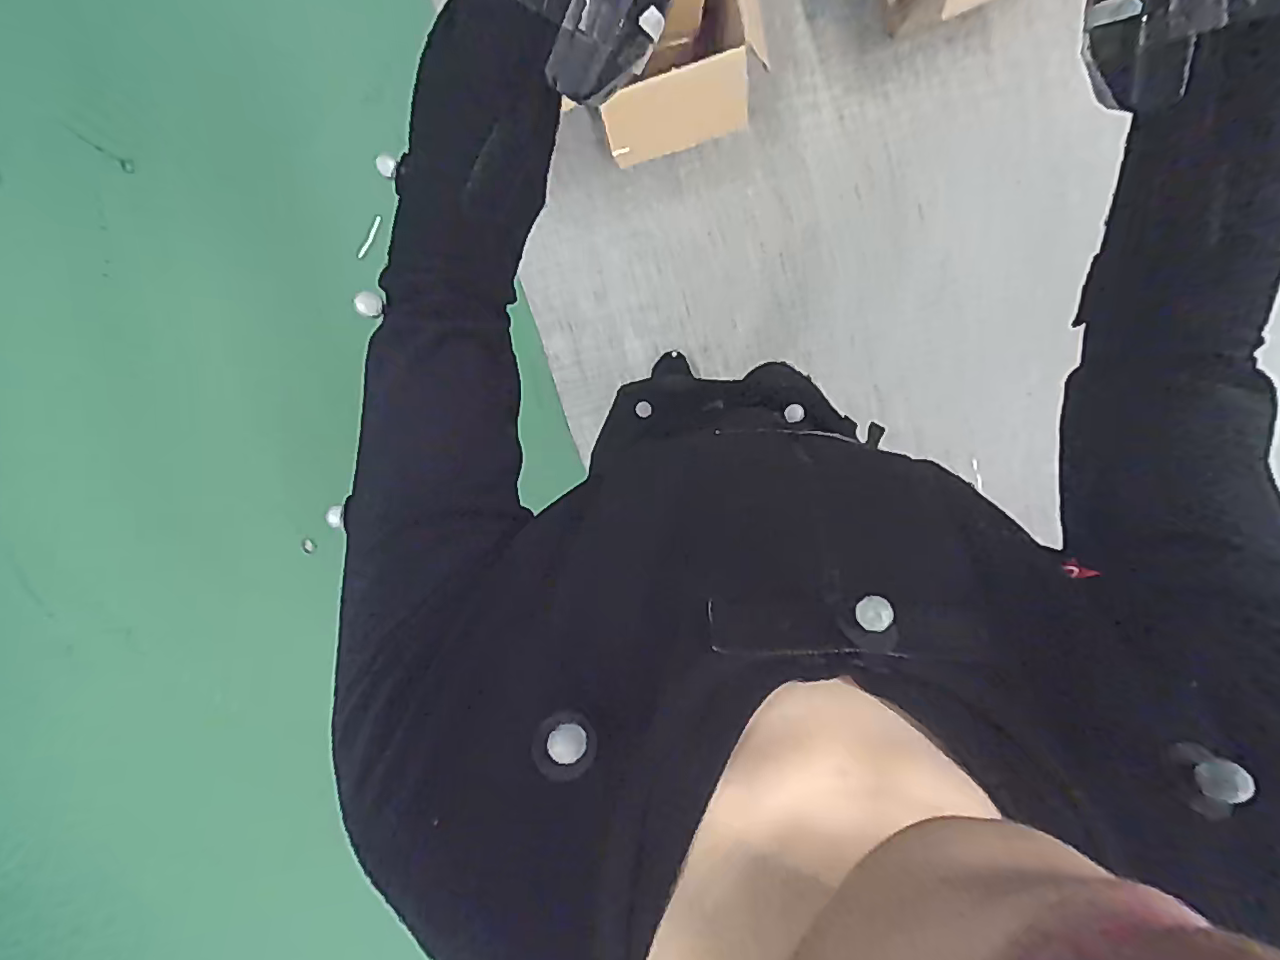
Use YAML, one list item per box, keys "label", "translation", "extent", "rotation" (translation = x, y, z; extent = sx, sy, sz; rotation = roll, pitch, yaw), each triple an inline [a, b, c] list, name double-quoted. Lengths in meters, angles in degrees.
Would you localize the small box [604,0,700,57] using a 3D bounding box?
- label: "small box"
  translation: [0.017, -0.981, 1.057]
  extent: [0.179, 0.176, 0.168]
  rotation: [-13, 97, 3]
